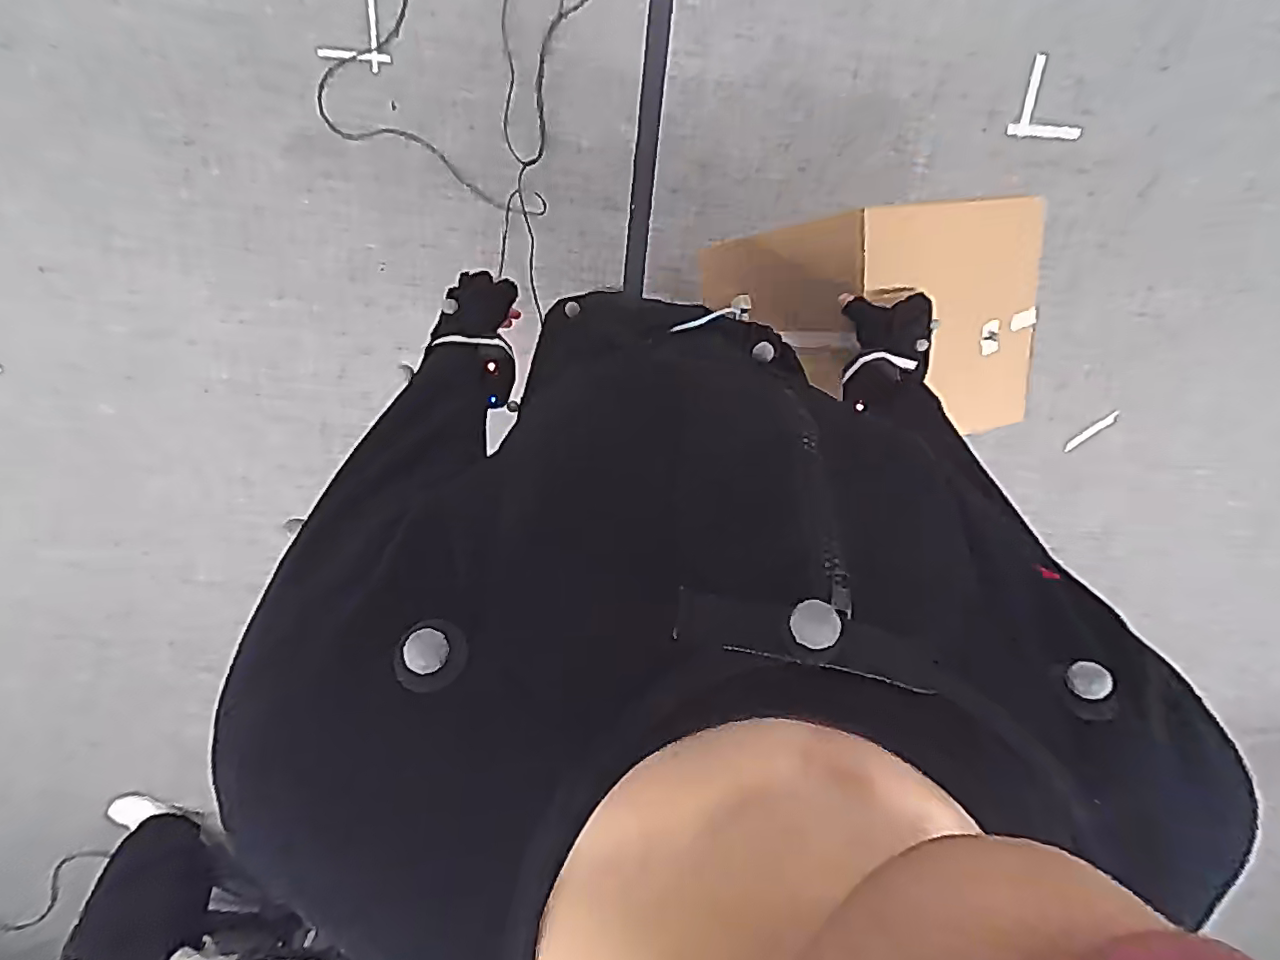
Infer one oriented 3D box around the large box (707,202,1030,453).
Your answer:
[{"bbox_3d":[0.346,-0.250,0.908,0.320,0.408,0.320,-10,107,-18],"label":"large box"}]
